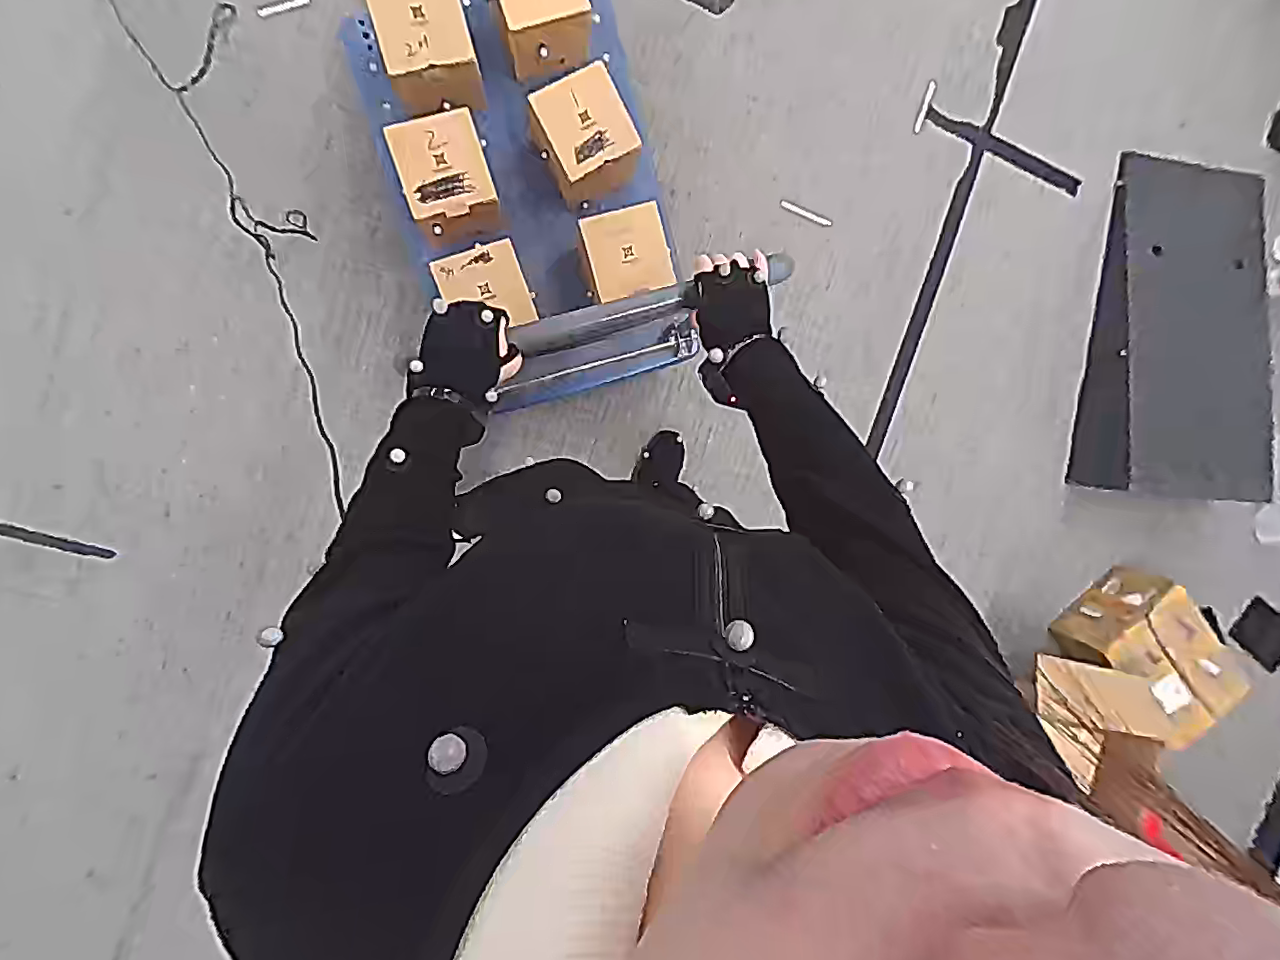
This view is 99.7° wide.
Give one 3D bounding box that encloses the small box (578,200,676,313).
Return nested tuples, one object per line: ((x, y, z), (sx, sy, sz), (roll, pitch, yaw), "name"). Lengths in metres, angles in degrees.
((-0.033, -0.474, 1.177), (0.168, 0.176, 0.179), (-17, 98, -6), "small box")

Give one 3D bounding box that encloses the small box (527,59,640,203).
((-0.117, -0.714, 1.135), (0.168, 0.176, 0.179), (-29, 99, -4), "small box")

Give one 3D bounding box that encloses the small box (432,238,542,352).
((-0.313, -0.380, 1.147), (0.168, 0.176, 0.179), (-21, 100, -6), "small box")

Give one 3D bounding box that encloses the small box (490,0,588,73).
((-0.210, -0.967, 1.092), (0.168, 0.176, 0.179), (-20, 99, -5), "small box")

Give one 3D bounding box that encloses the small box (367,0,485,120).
((-0.420, -0.862, 1.073), (0.168, 0.176, 0.179), (-16, 99, -6), "small box")
